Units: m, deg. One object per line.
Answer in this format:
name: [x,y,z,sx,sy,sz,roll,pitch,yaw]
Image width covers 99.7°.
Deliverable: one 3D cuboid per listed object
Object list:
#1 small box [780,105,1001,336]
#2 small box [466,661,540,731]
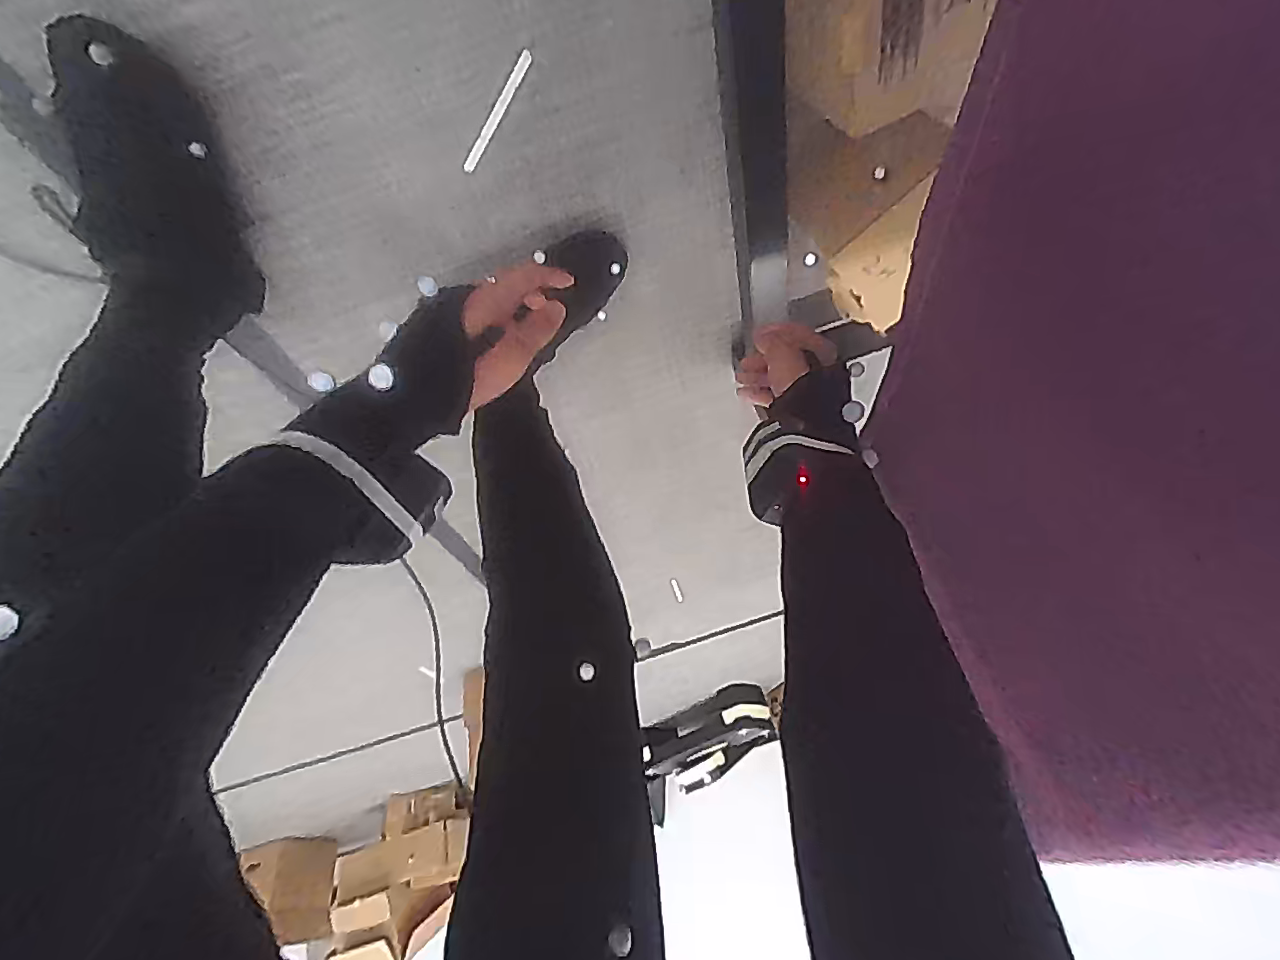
small box: [0.314,-0.331,0.697,0.179,0.176,0.168,-38,137,25]
small box: [-0.436,0.703,1.727,0.179,0.176,0.168,-19,142,4]
